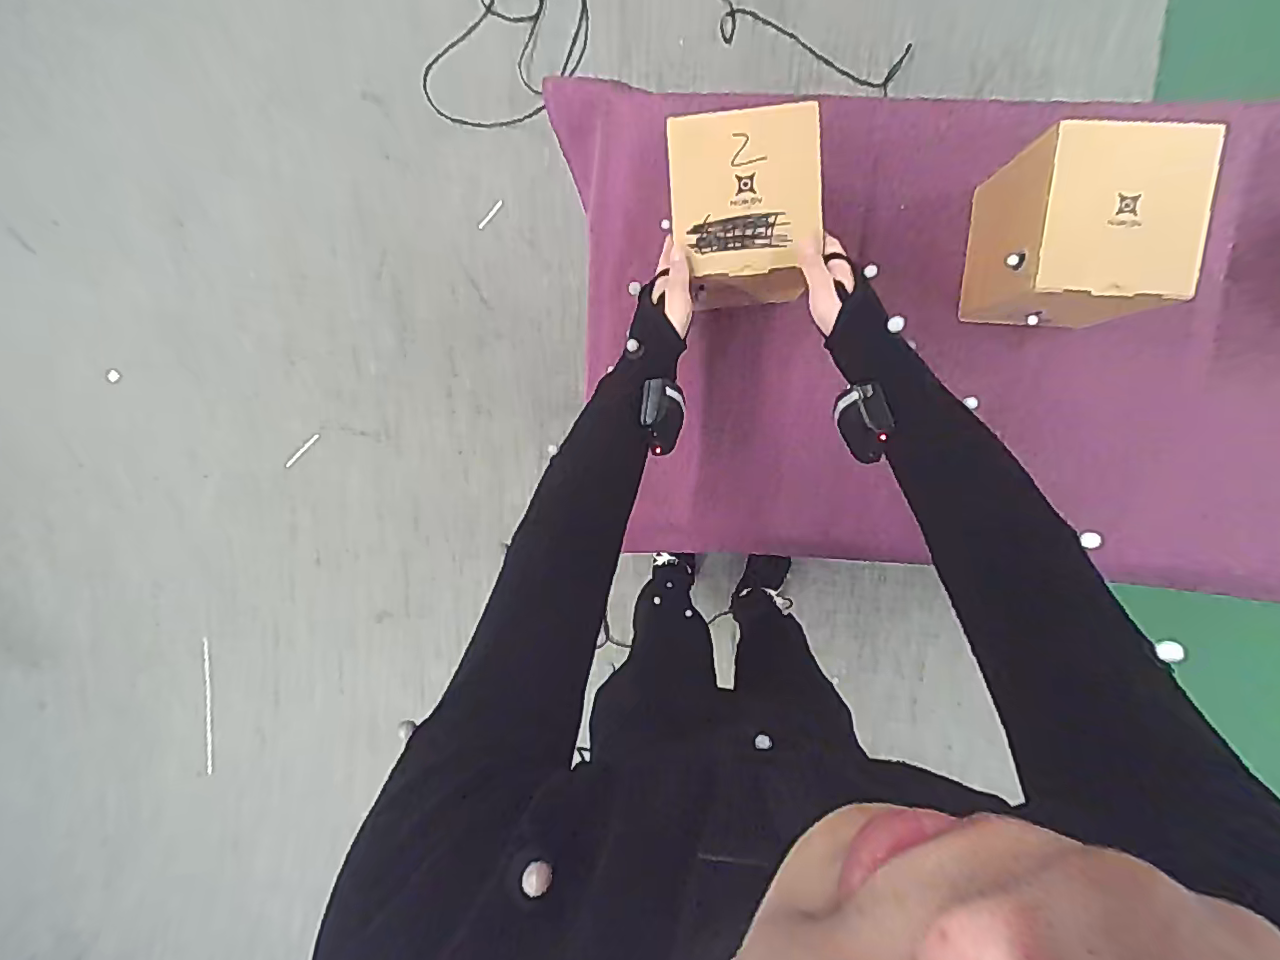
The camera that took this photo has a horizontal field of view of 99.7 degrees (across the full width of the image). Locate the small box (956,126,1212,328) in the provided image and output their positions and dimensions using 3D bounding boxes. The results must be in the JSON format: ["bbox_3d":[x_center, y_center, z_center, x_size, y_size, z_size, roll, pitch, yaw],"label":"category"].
[{"bbox_3d":[0.515,-0.292,0.656,0.168,0.176,0.179,4,97,3],"label":"small box"}]
